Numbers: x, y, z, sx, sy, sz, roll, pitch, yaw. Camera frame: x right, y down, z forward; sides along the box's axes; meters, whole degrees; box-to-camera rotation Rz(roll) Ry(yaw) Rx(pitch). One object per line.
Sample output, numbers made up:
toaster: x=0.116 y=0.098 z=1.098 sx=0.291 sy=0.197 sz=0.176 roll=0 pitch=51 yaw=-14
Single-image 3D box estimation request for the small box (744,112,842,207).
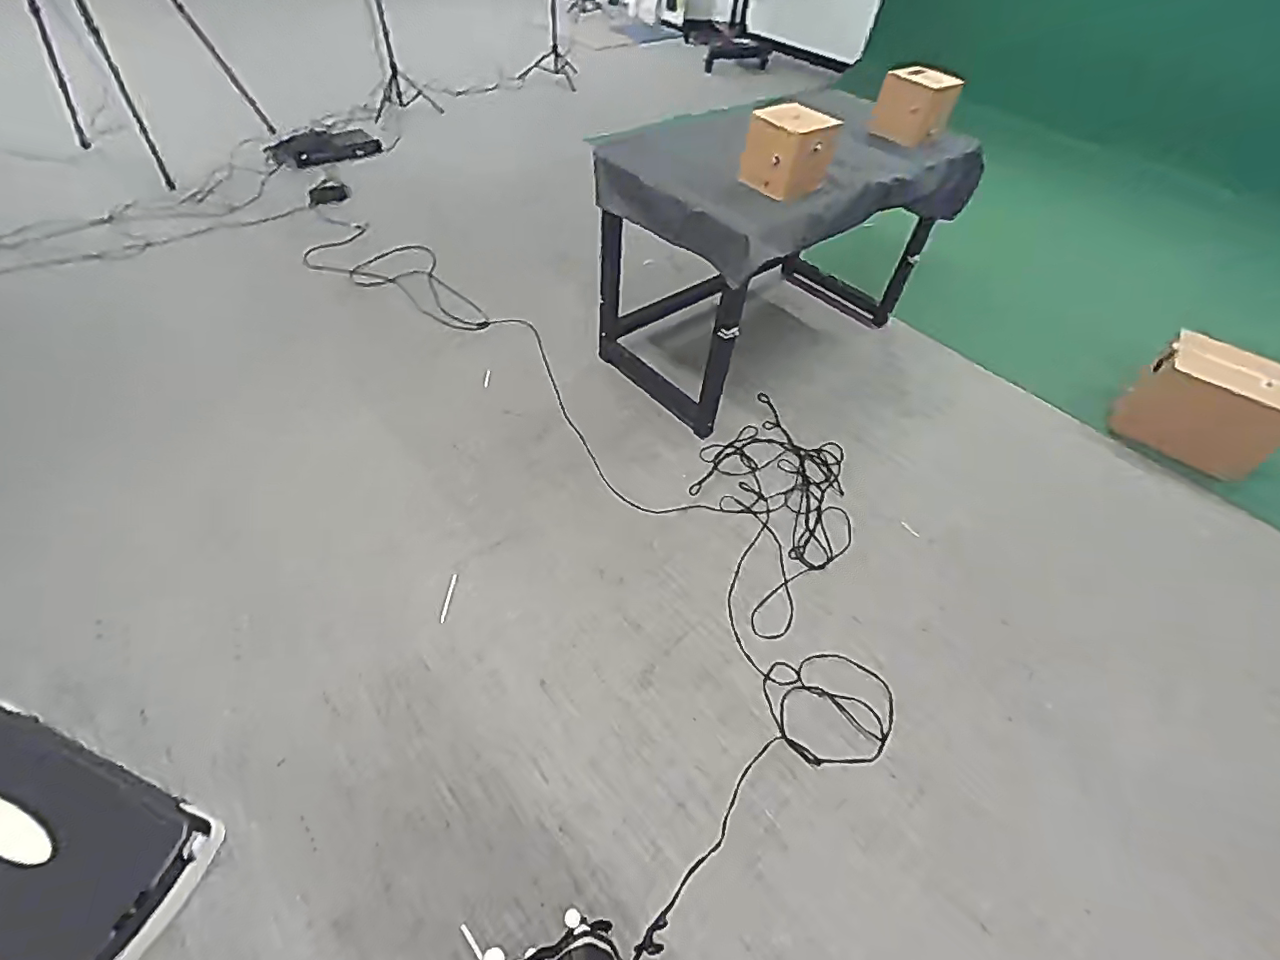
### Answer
small box: x=0.398 y=-0.855 z=1.446 sx=0.179 sy=0.176 sz=0.168 roll=-29 pitch=60 yaw=-28
